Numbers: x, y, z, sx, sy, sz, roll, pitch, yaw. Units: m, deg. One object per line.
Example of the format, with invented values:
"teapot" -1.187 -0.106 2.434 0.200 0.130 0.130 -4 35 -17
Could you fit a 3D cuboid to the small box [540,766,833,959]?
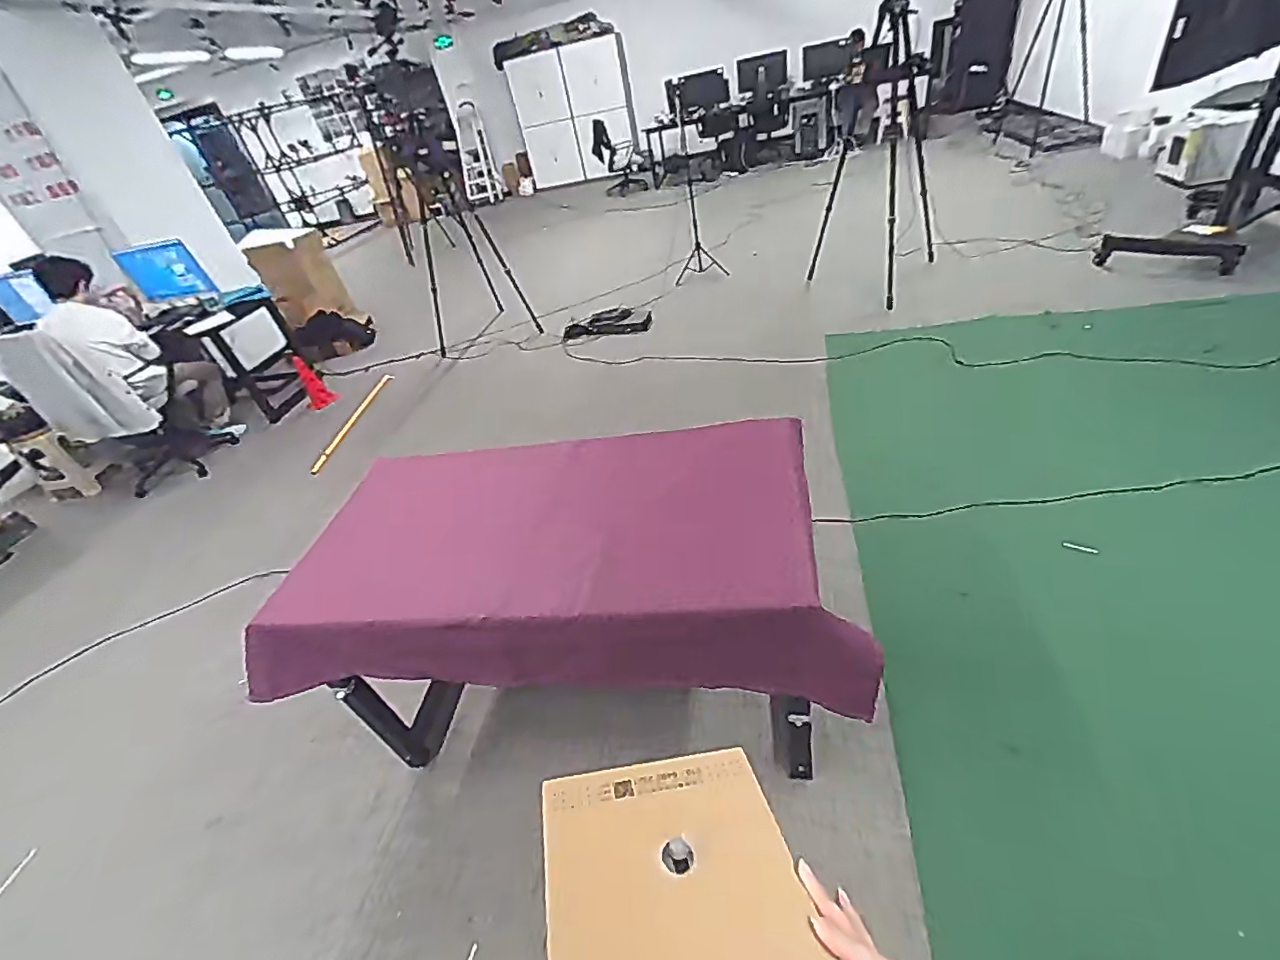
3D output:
"small box" 0.017 0.335 0.390 0.168 0.179 0.176 -4 21 -10
